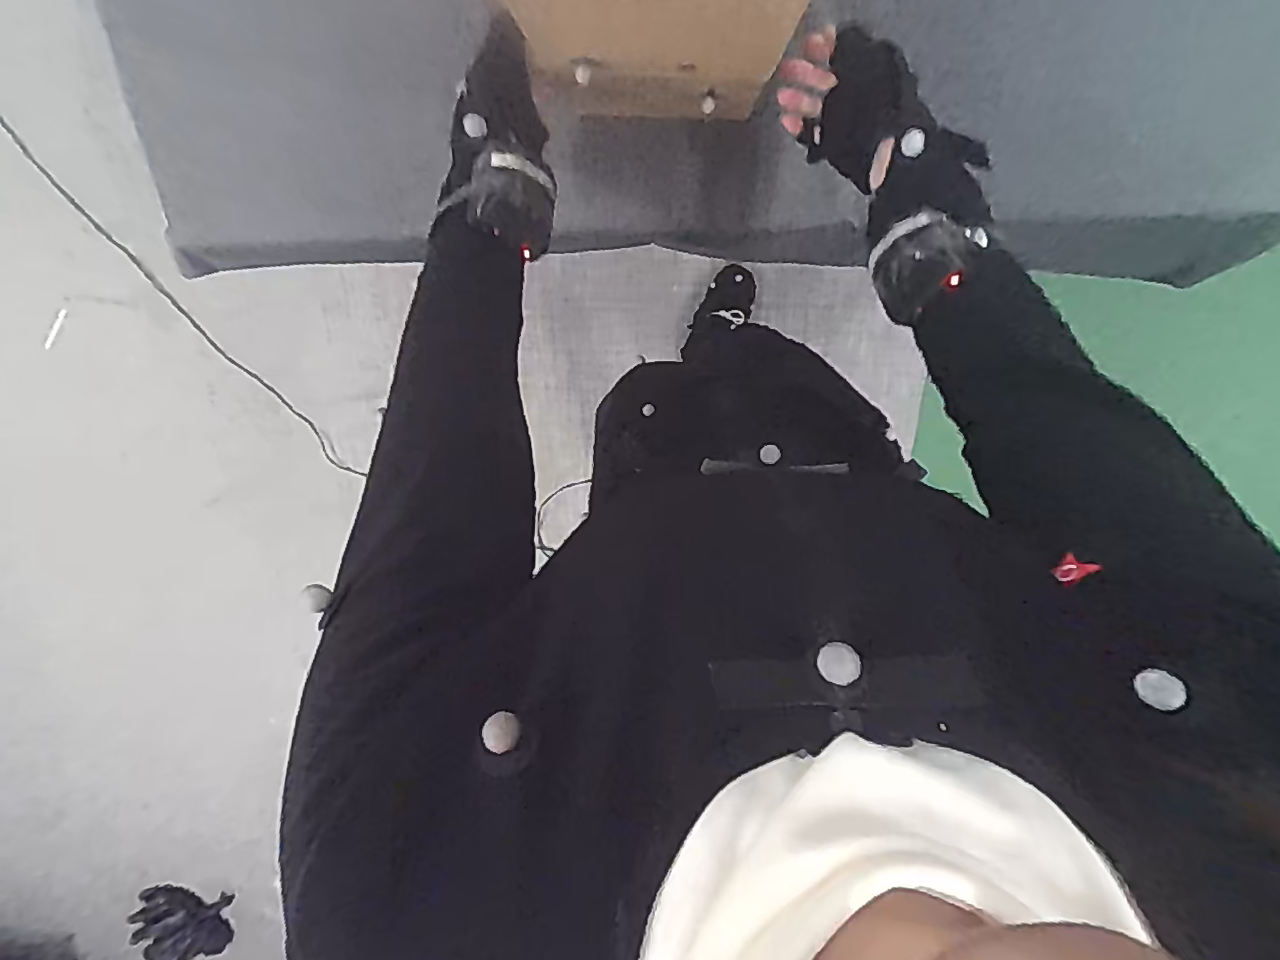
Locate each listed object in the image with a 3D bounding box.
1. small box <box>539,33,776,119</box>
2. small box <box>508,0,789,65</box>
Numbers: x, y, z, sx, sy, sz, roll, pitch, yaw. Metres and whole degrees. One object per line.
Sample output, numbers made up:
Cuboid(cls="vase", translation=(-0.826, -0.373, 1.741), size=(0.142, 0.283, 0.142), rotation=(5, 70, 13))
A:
Cuboid(cls="small box", translation=(0.020, -0.417, 0.446), size=(0.179, 0.176, 0.168), rotation=(3, 110, 4))
Cuboid(cls="small box", translation=(0.008, -0.353, 0.295), size=(0.168, 0.176, 0.179), rotation=(0, 112, 3))
